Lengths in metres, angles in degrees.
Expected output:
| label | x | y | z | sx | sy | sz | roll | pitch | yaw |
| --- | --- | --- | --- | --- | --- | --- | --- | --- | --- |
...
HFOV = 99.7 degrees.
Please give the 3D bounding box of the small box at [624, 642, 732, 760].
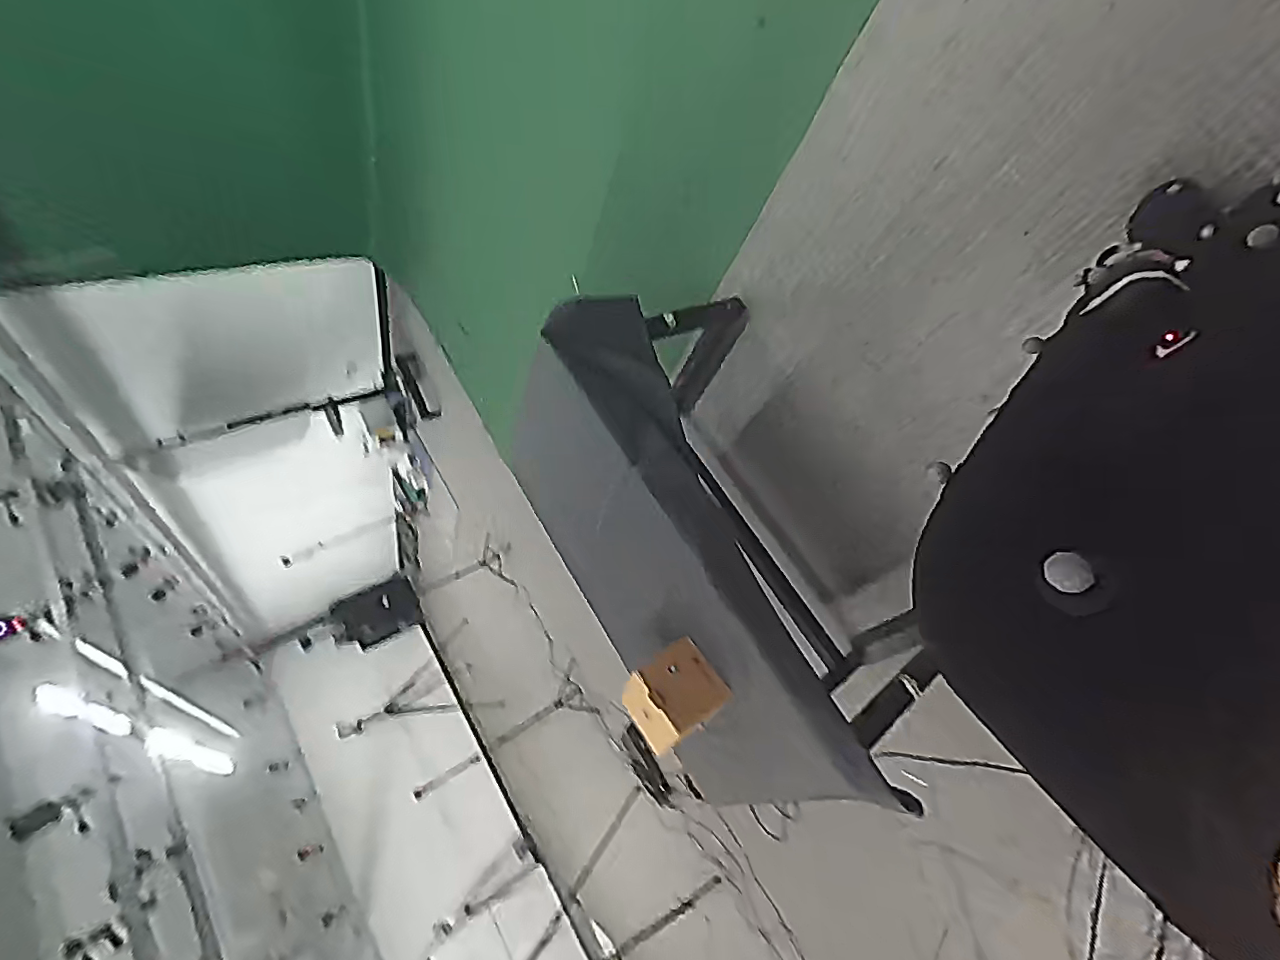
| label | x | y | z | sx | sy | sz | roll | pitch | yaw |
| --- | --- | --- | --- | --- | --- | --- | --- | --- | --- |
| small box | 0.090 | 0.511 | 1.266 | 0.168 | 0.176 | 0.179 | 50 | 145 | 28 |
